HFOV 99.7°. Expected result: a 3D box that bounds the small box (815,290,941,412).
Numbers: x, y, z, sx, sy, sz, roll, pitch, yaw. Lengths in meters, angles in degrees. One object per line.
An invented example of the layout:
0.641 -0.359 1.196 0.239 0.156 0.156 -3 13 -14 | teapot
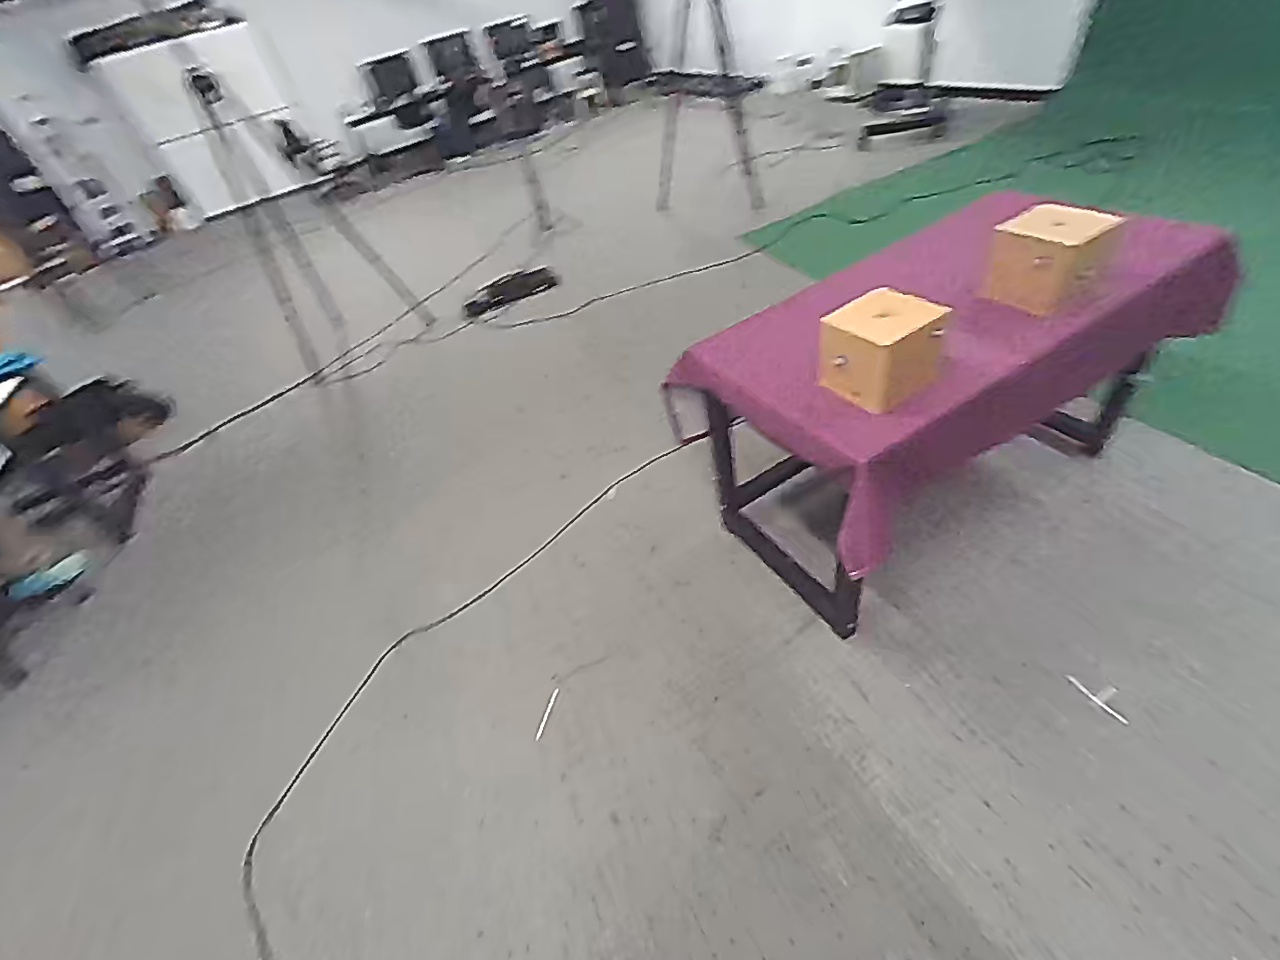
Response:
0.492 -0.269 1.134 0.179 0.176 0.168 -30 44 -16 | small box

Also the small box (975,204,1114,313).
0.920 -0.508 1.247 0.168 0.176 0.179 -29 44 -13 | small box
